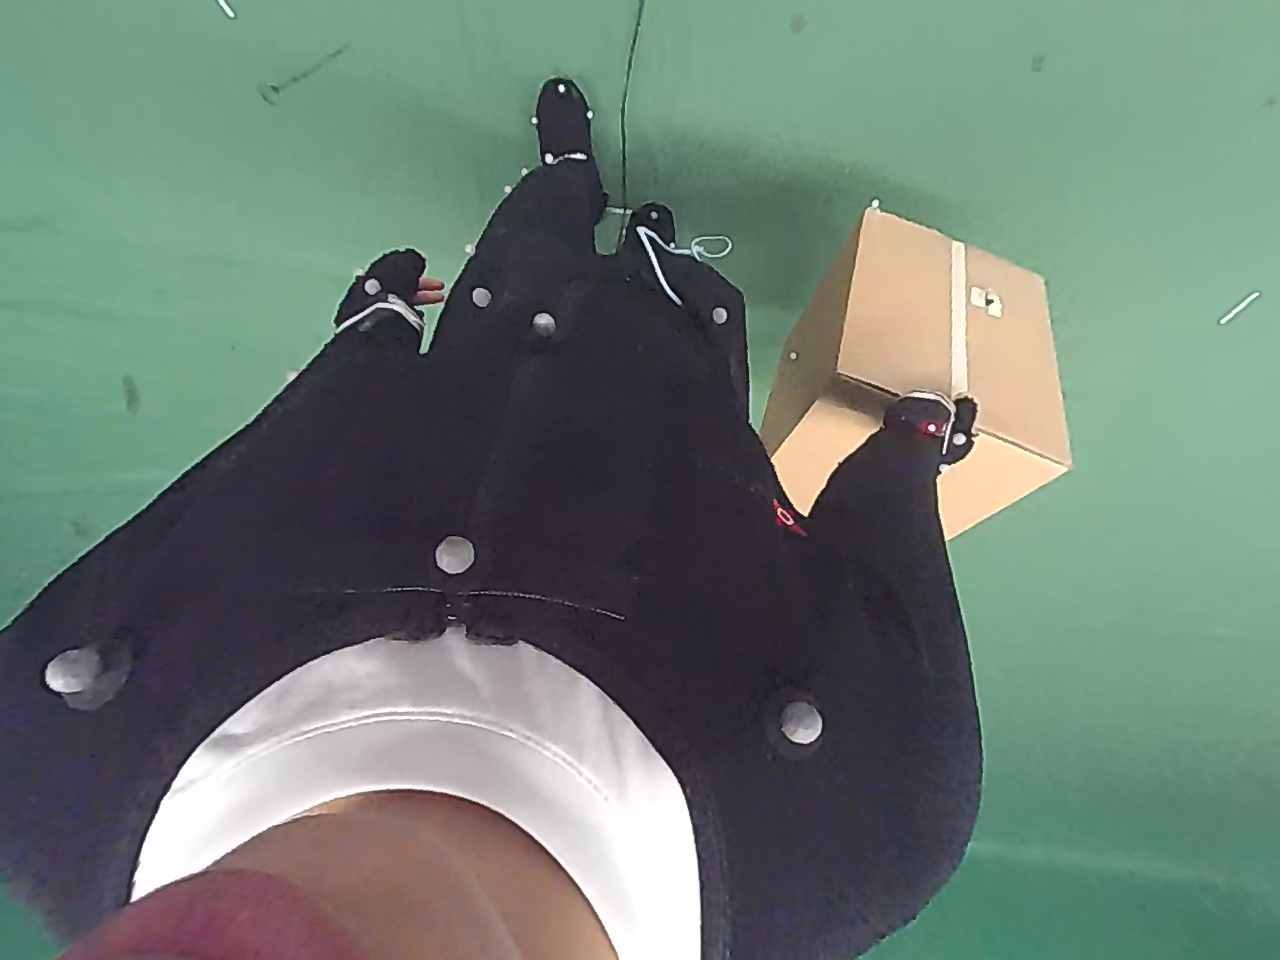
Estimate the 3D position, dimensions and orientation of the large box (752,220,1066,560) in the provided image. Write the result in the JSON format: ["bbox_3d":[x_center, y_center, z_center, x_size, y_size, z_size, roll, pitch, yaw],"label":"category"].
[{"bbox_3d":[0.412,-0.141,0.898,0.320,0.408,0.320,23,146,-1],"label":"large box"}]
